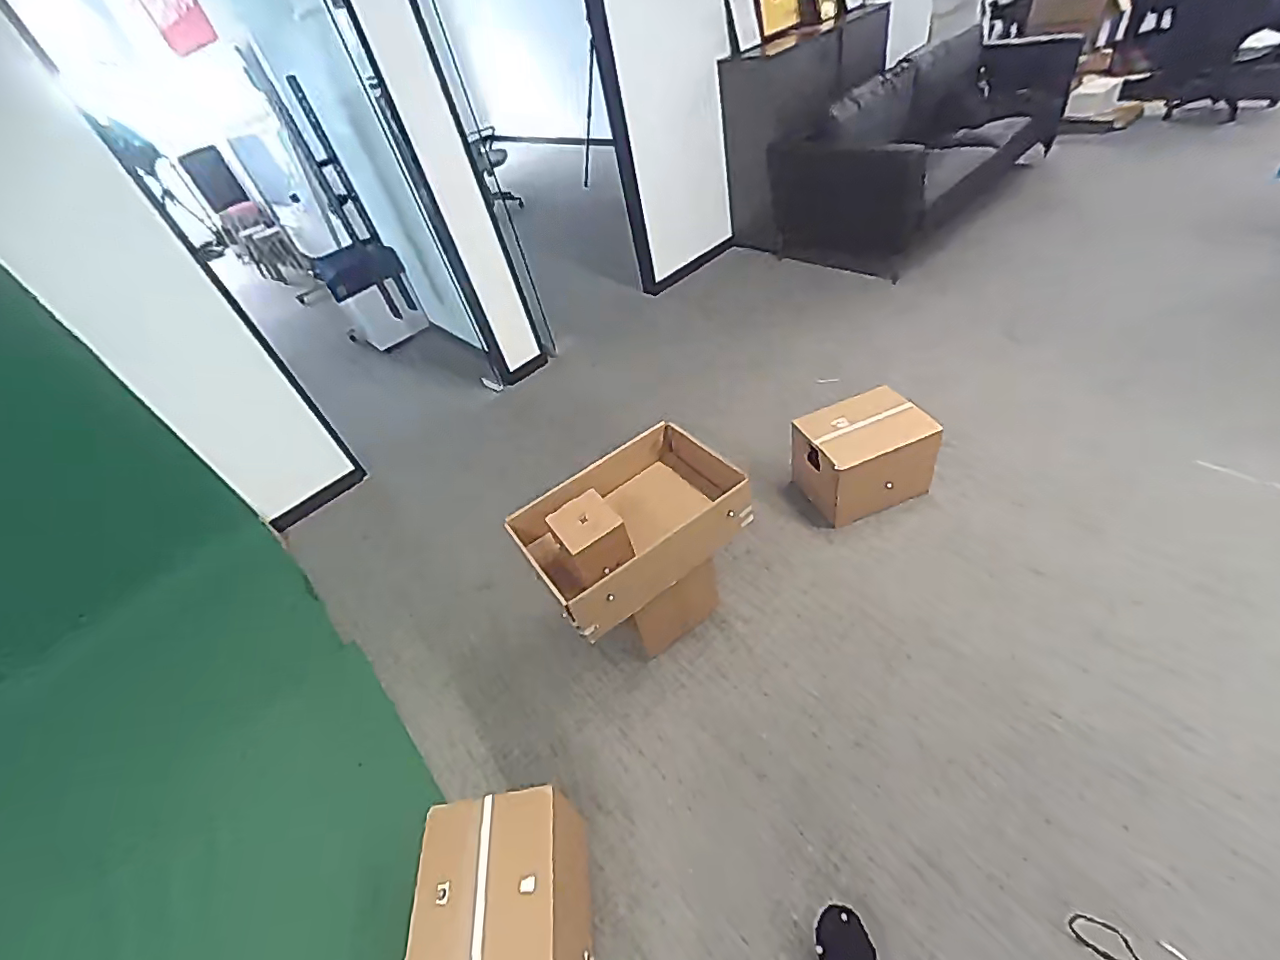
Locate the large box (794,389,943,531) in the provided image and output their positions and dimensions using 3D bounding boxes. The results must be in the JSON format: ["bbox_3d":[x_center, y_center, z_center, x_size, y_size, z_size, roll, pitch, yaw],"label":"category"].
[{"bbox_3d":[0.830,-0.077,2.016,0.408,0.320,0.320,-22,43,-6],"label":"large box"}]
